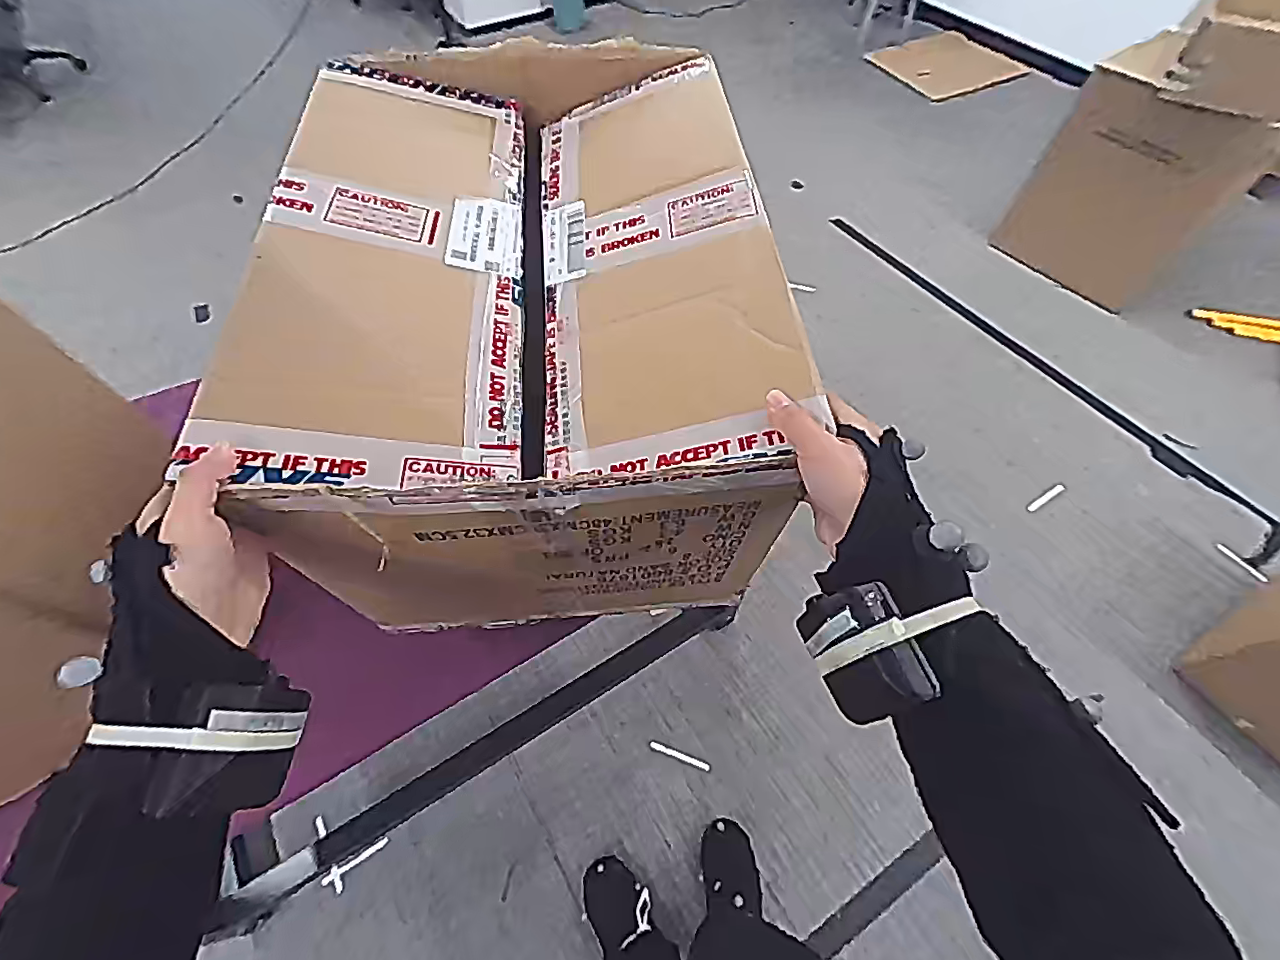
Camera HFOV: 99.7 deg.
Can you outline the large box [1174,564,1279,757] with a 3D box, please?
[{"bbox_3d":[1.530,0.373,1.172,0.408,0.320,0.320,-30,62,-16],"label":"large box"}]
